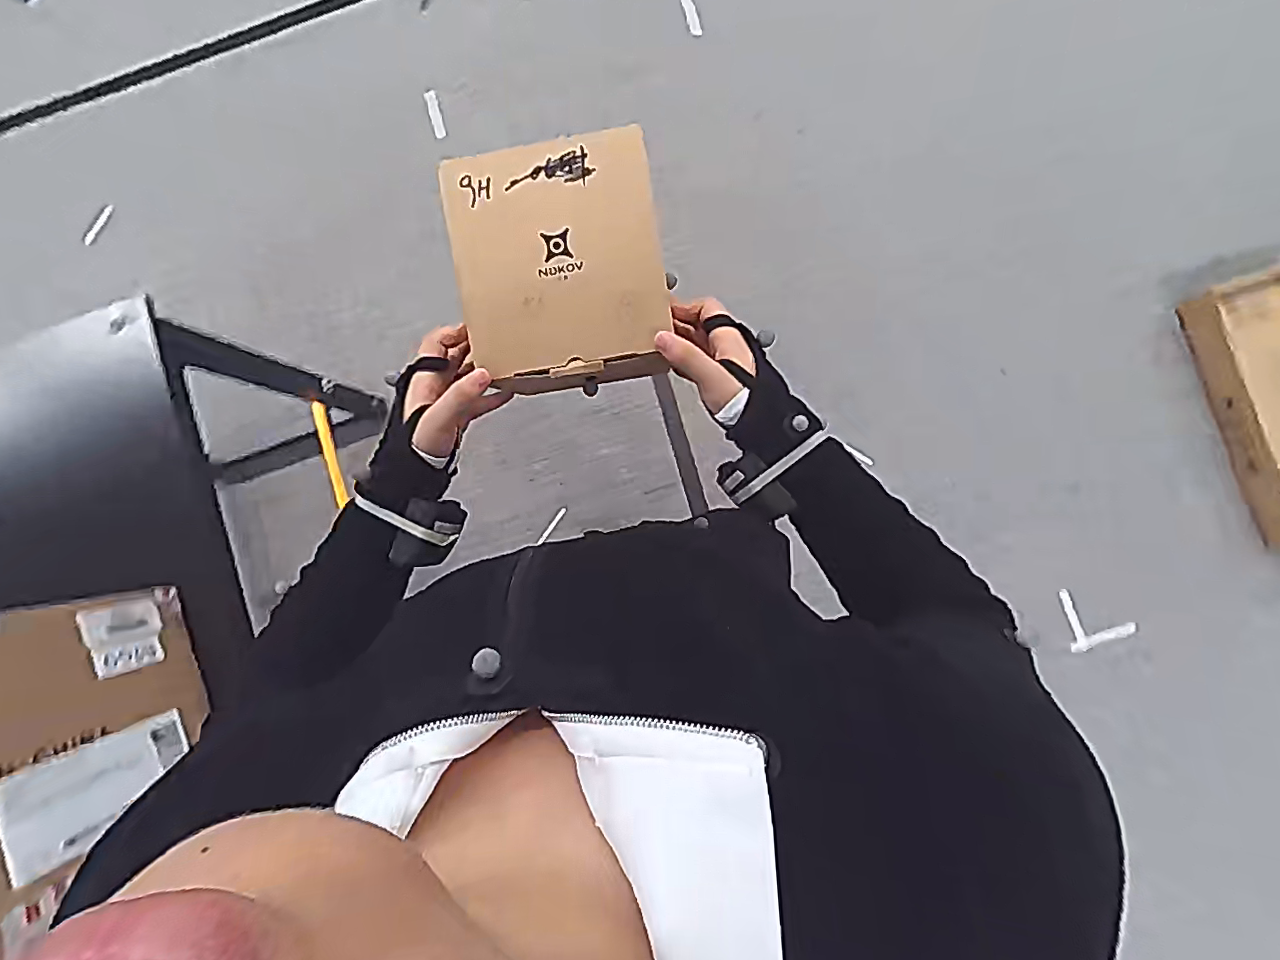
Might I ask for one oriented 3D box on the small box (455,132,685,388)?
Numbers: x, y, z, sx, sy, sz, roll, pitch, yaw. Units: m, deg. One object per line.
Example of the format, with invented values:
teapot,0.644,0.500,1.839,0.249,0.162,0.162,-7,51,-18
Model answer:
small box,-0.050,-0.183,0.508,0.168,0.176,0.179,-8,97,2
